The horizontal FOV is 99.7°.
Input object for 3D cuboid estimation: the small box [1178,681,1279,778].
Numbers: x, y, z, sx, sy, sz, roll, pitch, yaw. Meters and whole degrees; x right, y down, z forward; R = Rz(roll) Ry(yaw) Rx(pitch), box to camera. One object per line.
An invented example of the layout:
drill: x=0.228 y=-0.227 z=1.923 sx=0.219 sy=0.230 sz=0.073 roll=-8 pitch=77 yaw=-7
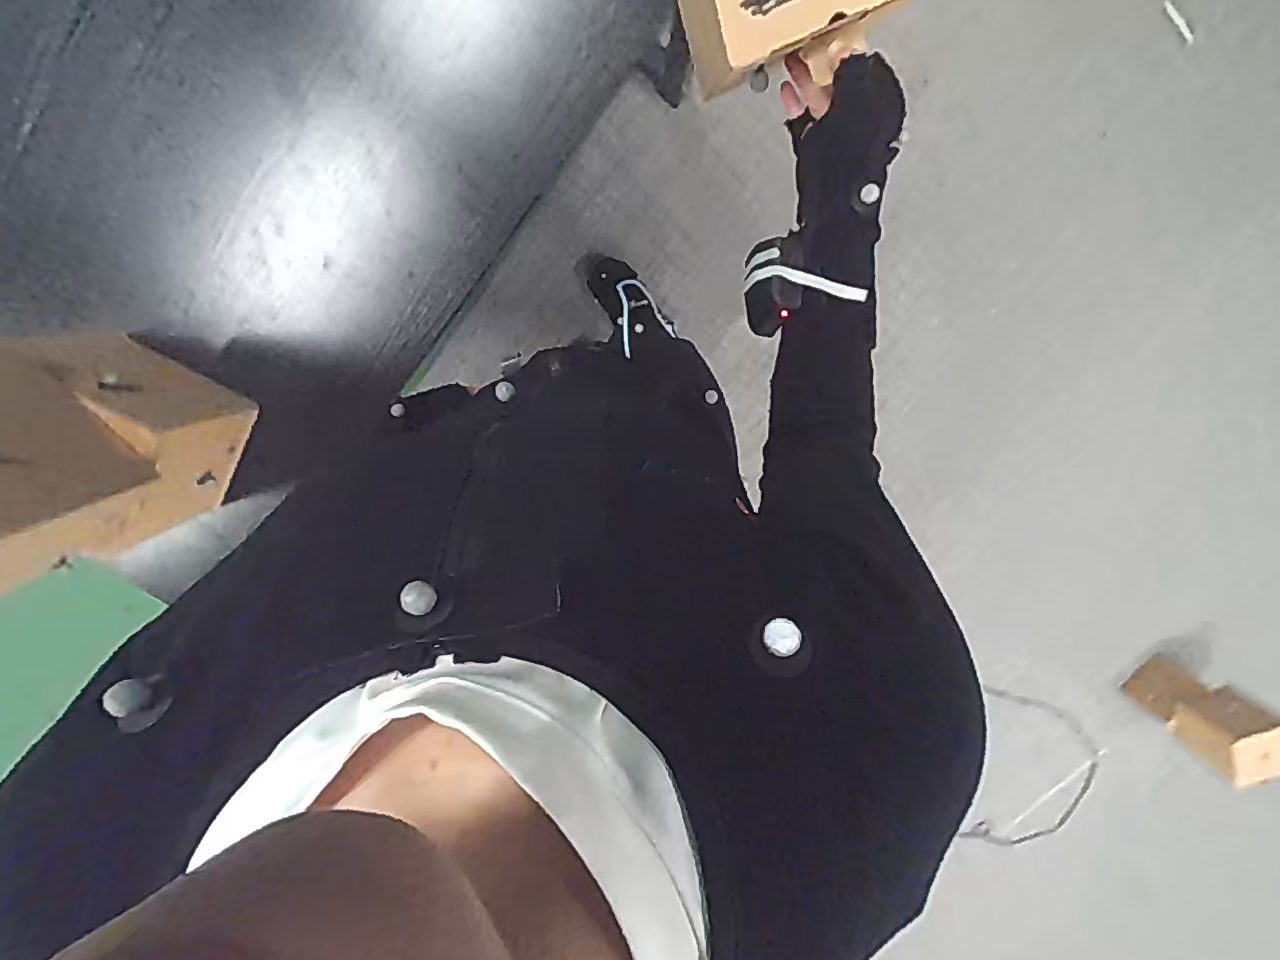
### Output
small box: x=1.719 y=0.711 z=1.566 sx=0.168 sy=0.176 sz=0.179 roll=-21 pitch=108 yaw=4

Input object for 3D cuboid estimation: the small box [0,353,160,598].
small box: x=-0.597 y=0.007 z=0.473 sx=0.168 sy=0.176 sz=0.179 roll=-37 pitch=105 yaw=8

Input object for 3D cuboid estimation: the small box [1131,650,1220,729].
small box: x=1.721 y=0.680 z=1.711 sx=0.168 sy=0.176 sz=0.179 roll=32 pitch=103 yaw=-12

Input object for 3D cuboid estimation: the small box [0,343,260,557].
small box: x=-0.601 y=-0.045 z=0.629 sx=0.179 sy=0.176 sz=0.168 roll=29 pitch=104 yaw=-12
